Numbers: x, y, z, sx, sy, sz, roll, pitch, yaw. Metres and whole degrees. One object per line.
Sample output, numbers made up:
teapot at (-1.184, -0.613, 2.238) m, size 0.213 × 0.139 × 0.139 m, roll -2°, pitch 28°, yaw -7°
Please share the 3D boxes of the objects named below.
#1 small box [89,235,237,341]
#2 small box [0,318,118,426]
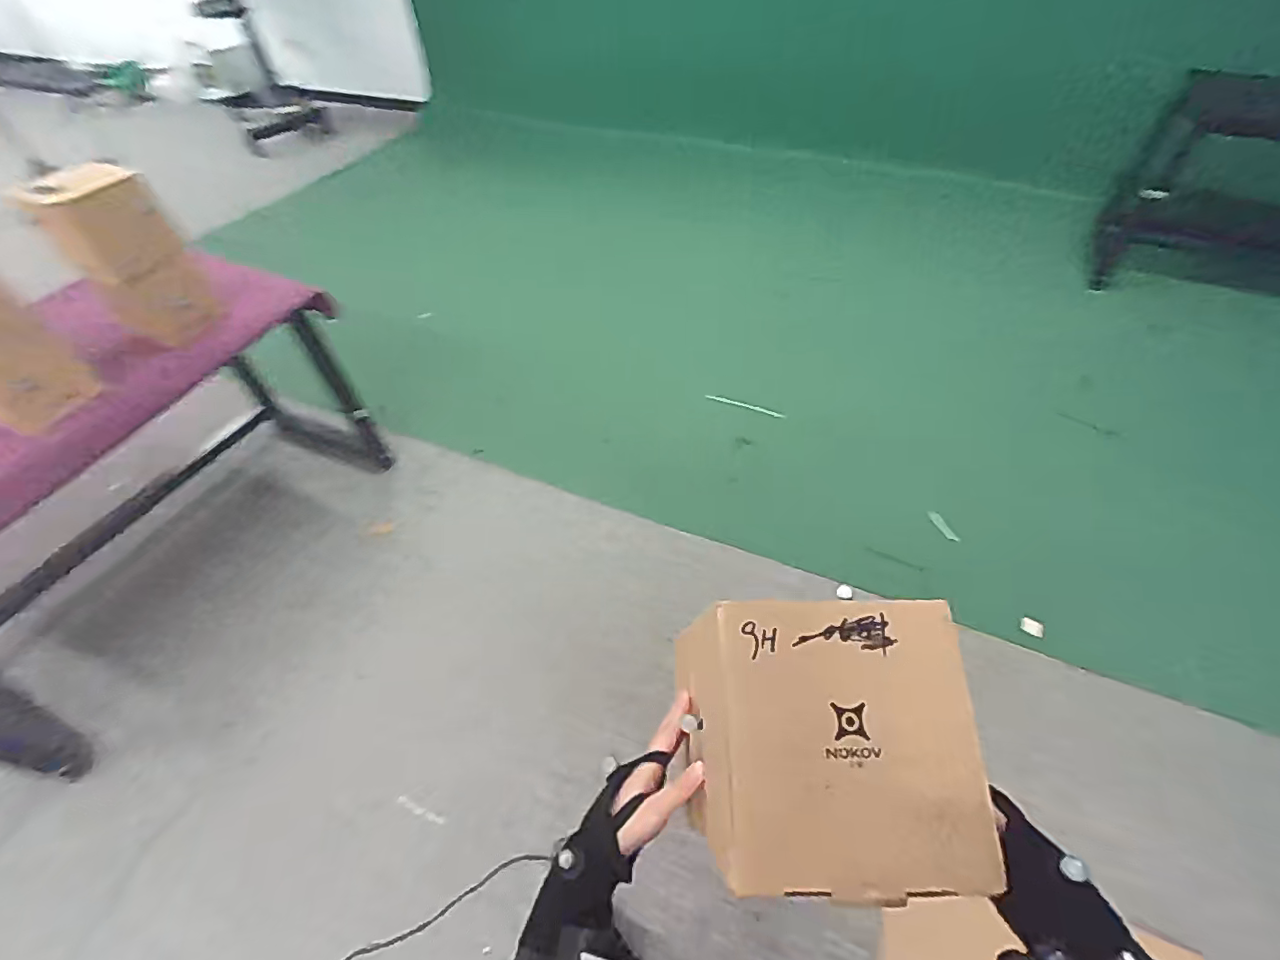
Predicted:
small box at (-1.134, -0.459, 1.303) m, size 0.179 × 0.176 × 0.168 m, roll 20°, pitch 54°, yaw 19°
small box at (-1.272, -0.235, 1.129) m, size 0.179 × 0.176 × 0.168 m, roll 17°, pitch 54°, yaw 18°
